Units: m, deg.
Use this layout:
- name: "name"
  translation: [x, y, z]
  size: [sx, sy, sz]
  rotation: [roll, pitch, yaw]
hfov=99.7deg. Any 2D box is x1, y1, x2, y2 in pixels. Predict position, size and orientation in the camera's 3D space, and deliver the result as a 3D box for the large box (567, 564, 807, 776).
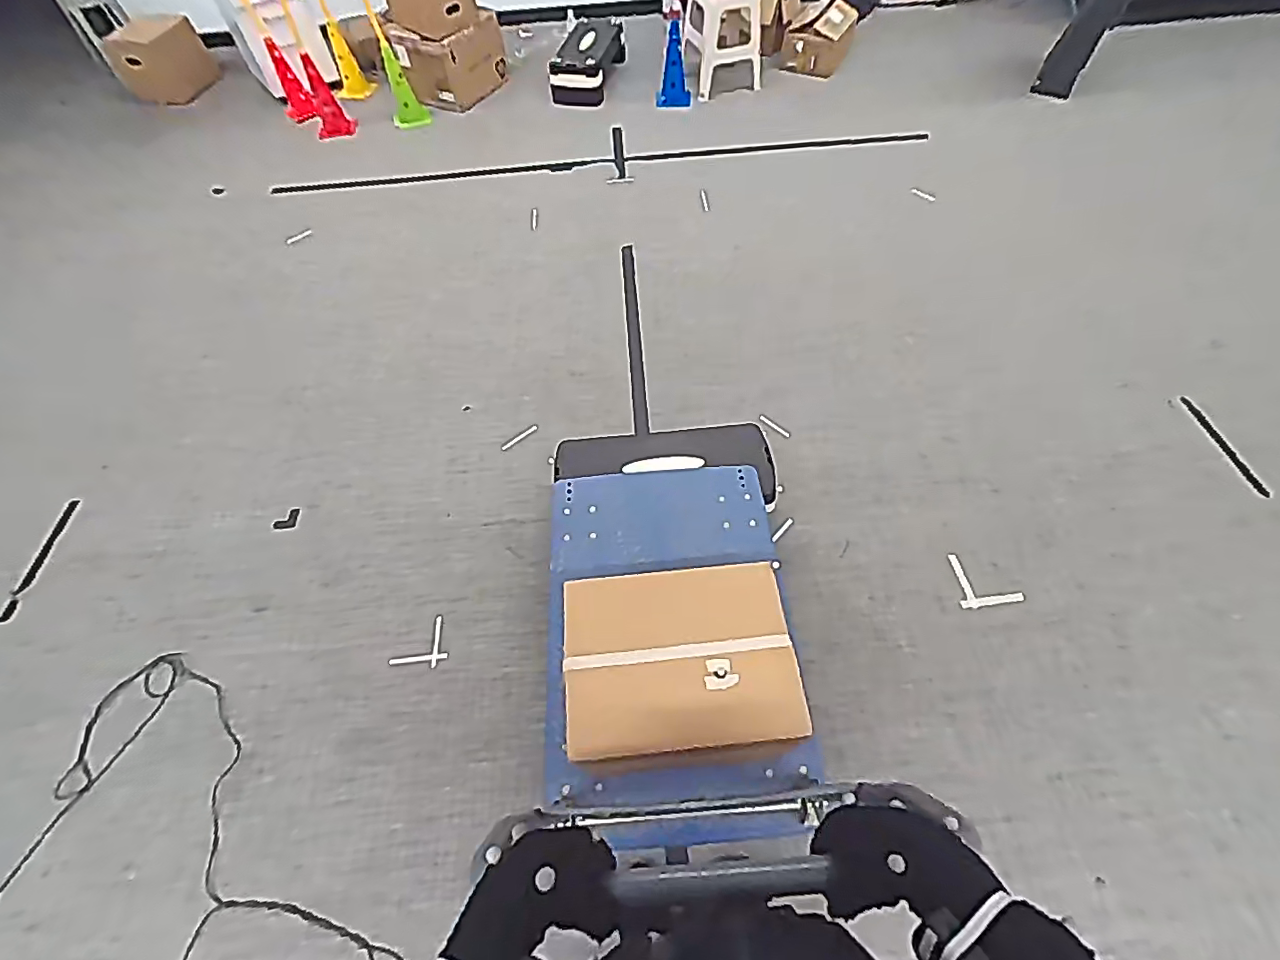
- name: "large box"
  translation: [0.072, 0.394, 1.103]
  size: [0.408, 0.320, 0.320]
  rotation: [-5, 57, -2]
